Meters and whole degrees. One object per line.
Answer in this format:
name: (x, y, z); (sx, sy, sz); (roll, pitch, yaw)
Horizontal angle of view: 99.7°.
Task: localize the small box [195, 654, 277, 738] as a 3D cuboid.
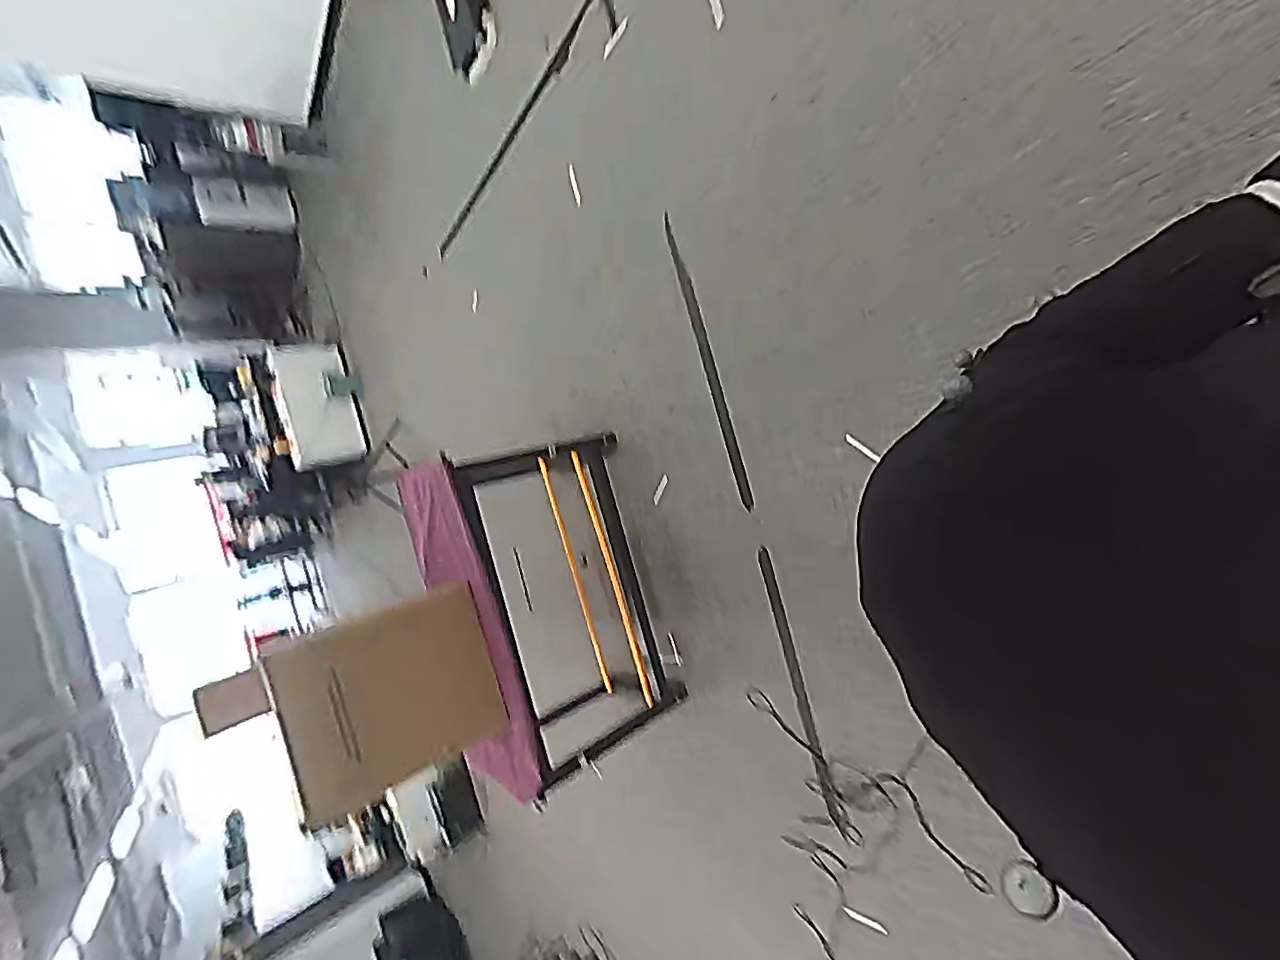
small box: (-1.245, 0.662, 1.676); (0.168, 0.176, 0.179); (-19, 87, 52)
